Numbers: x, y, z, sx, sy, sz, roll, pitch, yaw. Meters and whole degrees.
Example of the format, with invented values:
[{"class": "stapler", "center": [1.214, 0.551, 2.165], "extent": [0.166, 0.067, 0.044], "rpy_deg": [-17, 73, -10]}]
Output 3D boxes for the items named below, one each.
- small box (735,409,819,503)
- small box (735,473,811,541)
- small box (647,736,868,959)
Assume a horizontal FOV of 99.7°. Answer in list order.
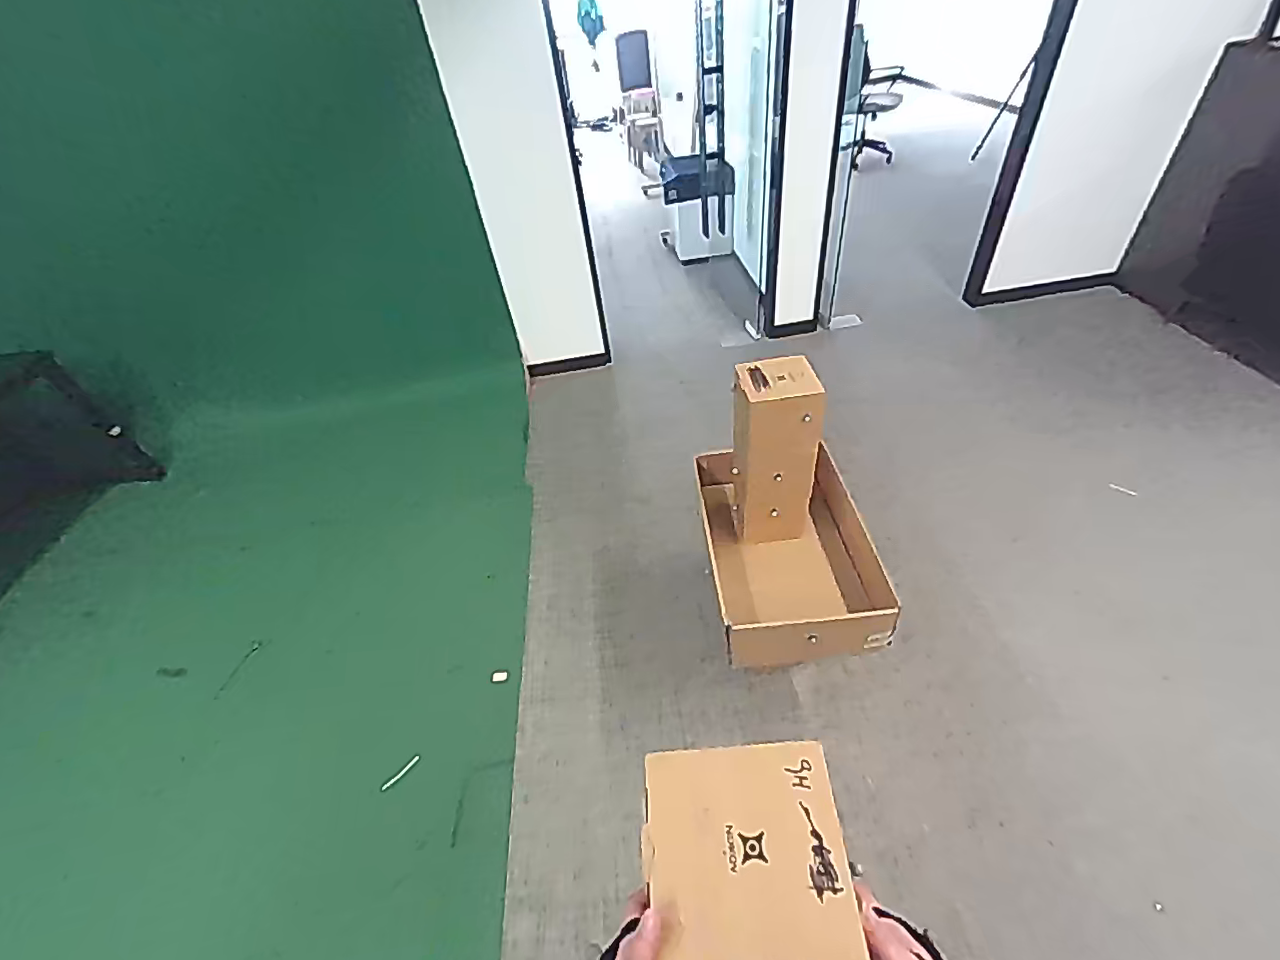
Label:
[{"class": "small box", "center": [0.352, -0.061, 1.421], "extent": [0.179, 0.176, 0.168], "rpy_deg": [-9, 43, 1]}, {"class": "small box", "center": [0.371, 0.054, 1.538], "extent": [0.179, 0.176, 0.168], "rpy_deg": [-7, 44, 3]}, {"class": "small box", "center": [0.108, 0.368, 0.537], "extent": [0.179, 0.176, 0.168], "rpy_deg": [-7, 50, 8]}]
